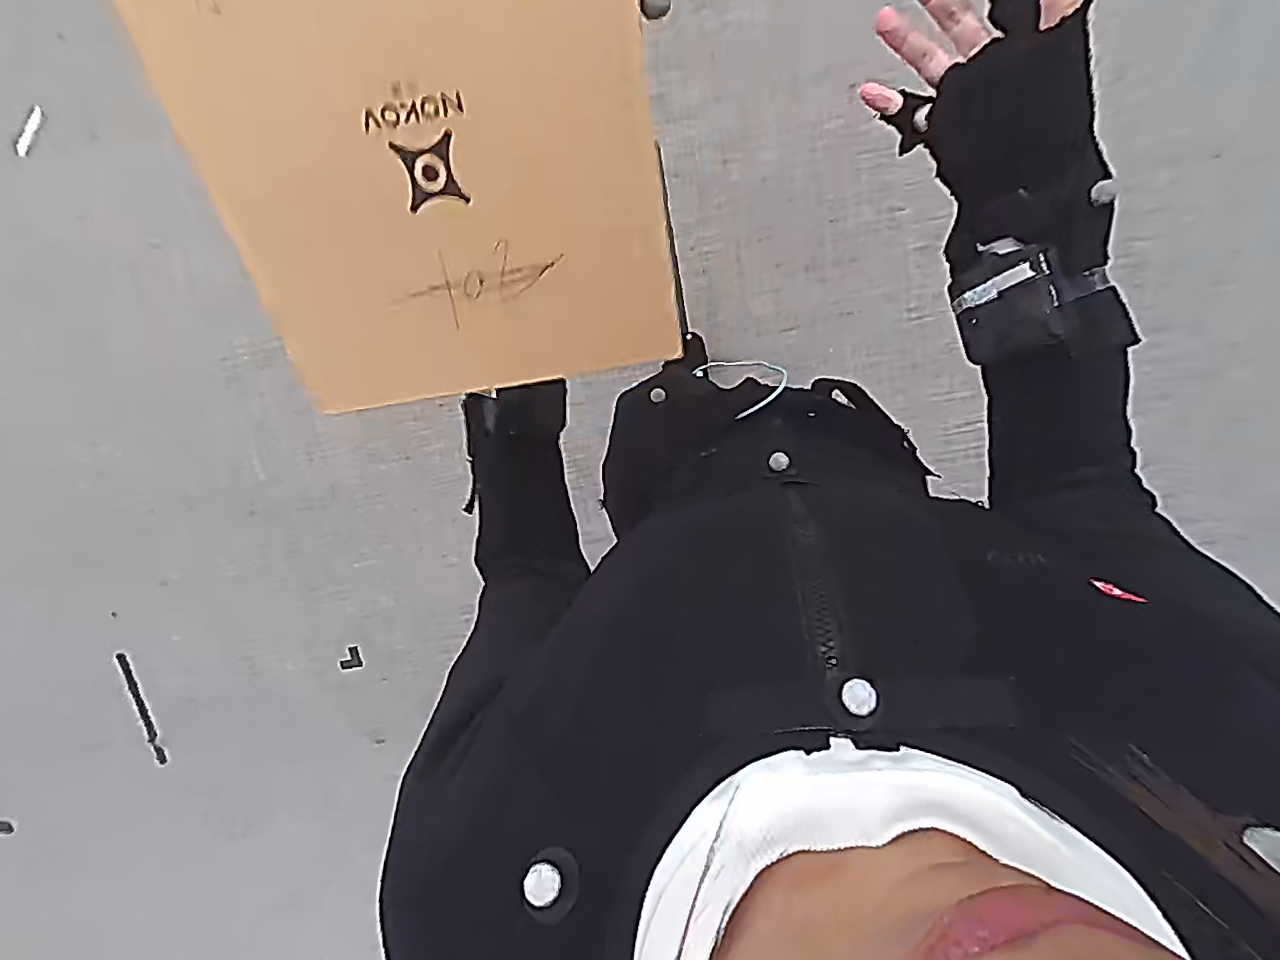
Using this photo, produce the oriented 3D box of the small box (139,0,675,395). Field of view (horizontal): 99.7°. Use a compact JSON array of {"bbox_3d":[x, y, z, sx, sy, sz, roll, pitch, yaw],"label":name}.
[{"bbox_3d":[-0.081,-0.164,0.273,0.168,0.176,0.179,-9,120,3],"label":"small box"}]
